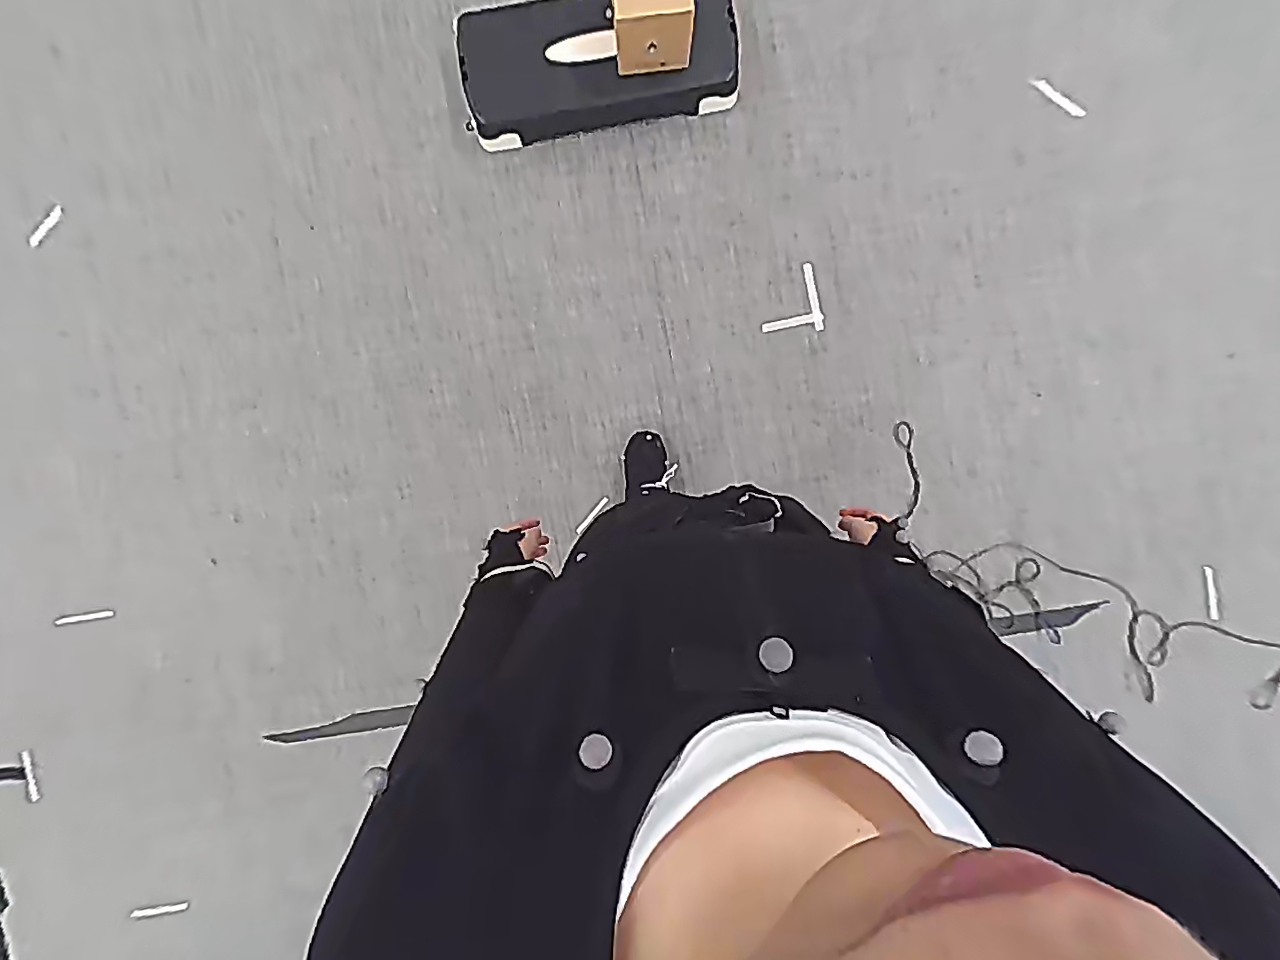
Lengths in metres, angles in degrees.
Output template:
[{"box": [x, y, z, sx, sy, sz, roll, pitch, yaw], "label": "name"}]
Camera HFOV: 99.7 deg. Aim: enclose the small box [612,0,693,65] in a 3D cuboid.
[{"box": [0.023, -1.049, 1.183, 0.168, 0.176, 0.179, -6, 92, 0], "label": "small box"}]
